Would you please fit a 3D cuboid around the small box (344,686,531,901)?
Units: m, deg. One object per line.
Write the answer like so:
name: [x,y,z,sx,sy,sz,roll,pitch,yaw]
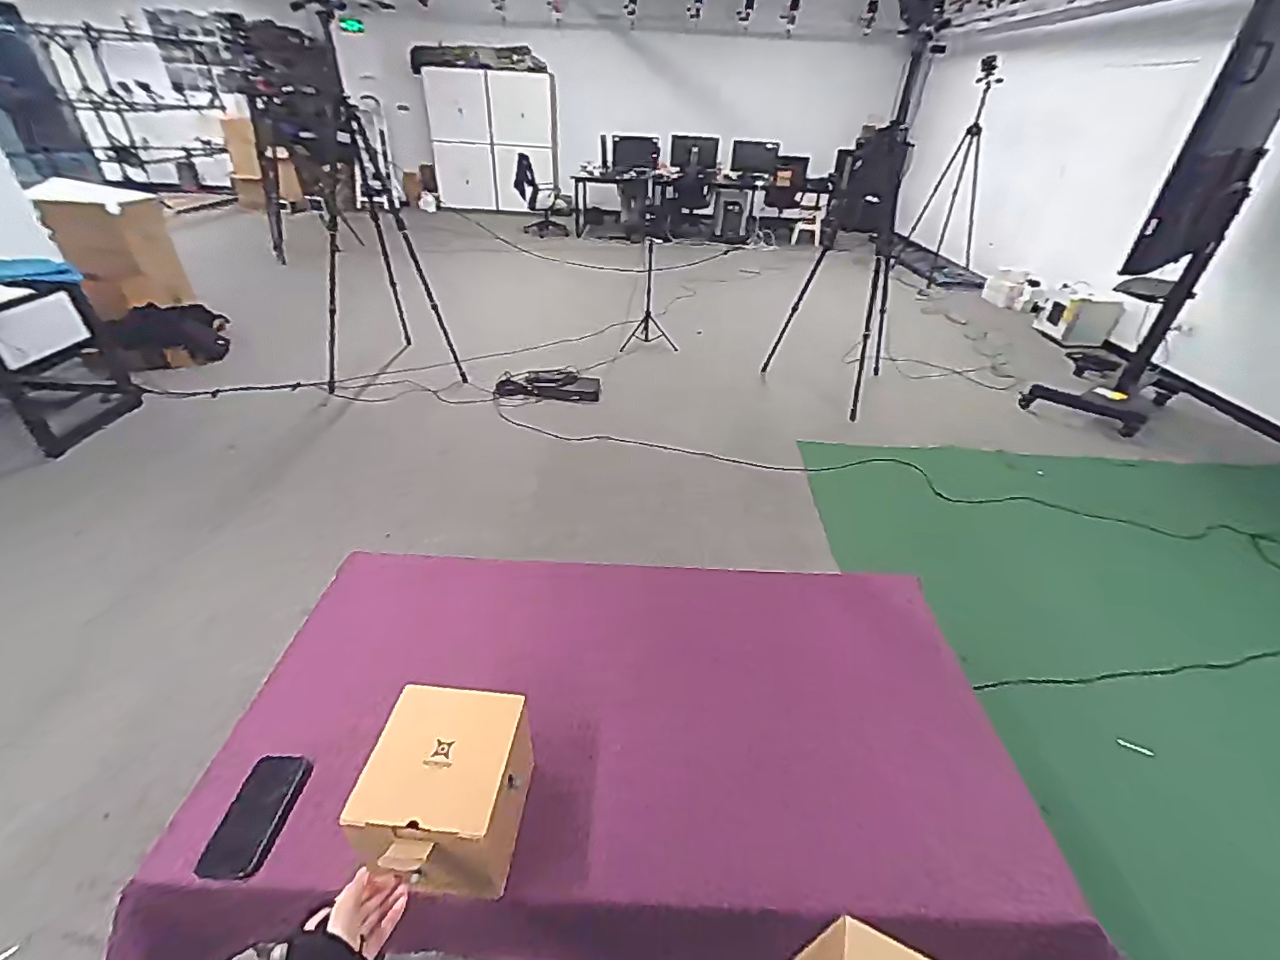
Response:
small box: [-0.242,0.400,0.699,0.168,0.176,0.179,6,35,2]
